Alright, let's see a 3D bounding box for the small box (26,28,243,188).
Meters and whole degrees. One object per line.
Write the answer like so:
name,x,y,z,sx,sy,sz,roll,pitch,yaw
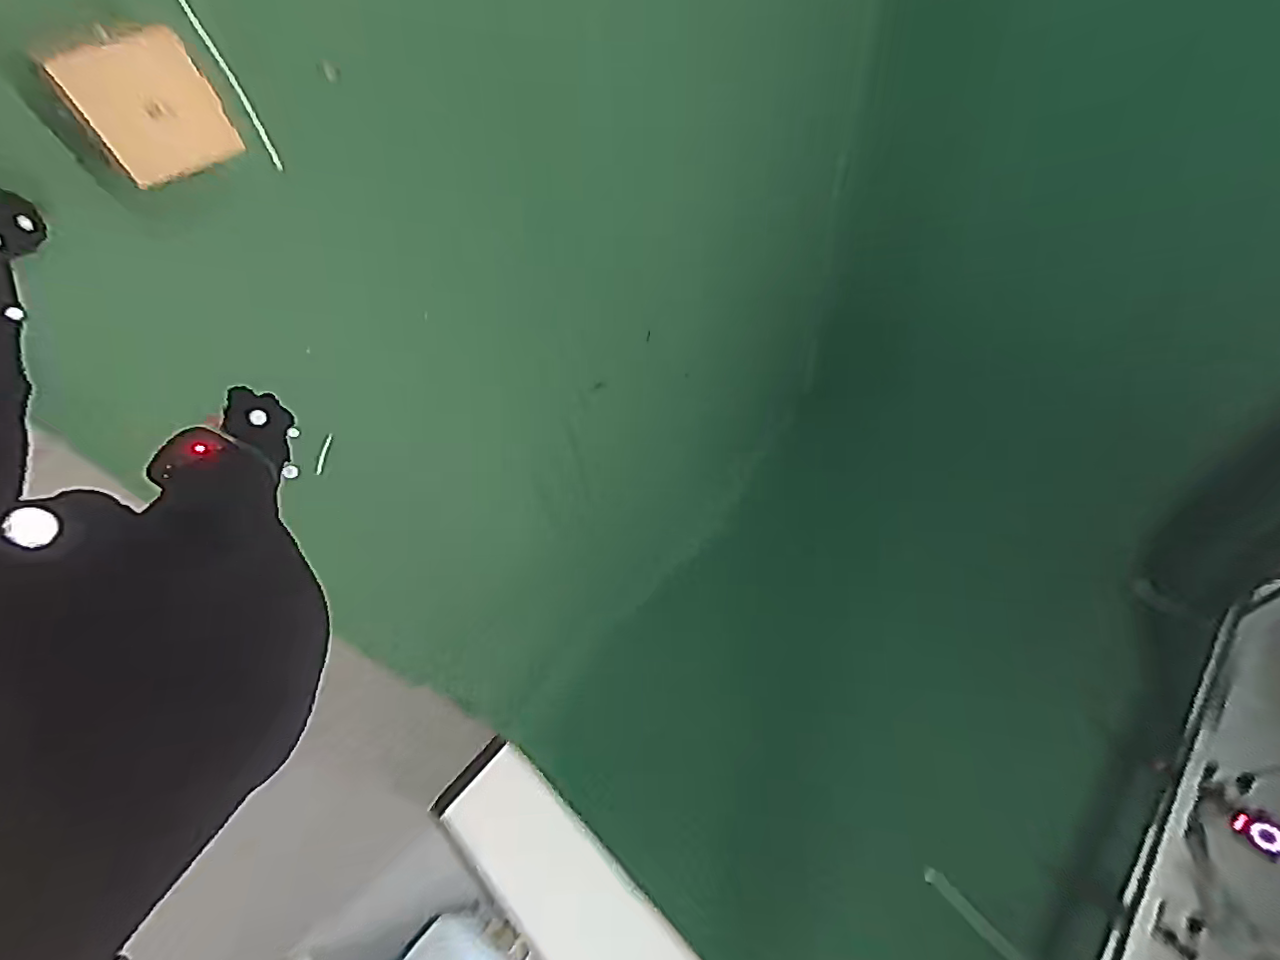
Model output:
small box,-0.788,-0.588,0.849,0.179,0.176,0.168,-41,145,-26
